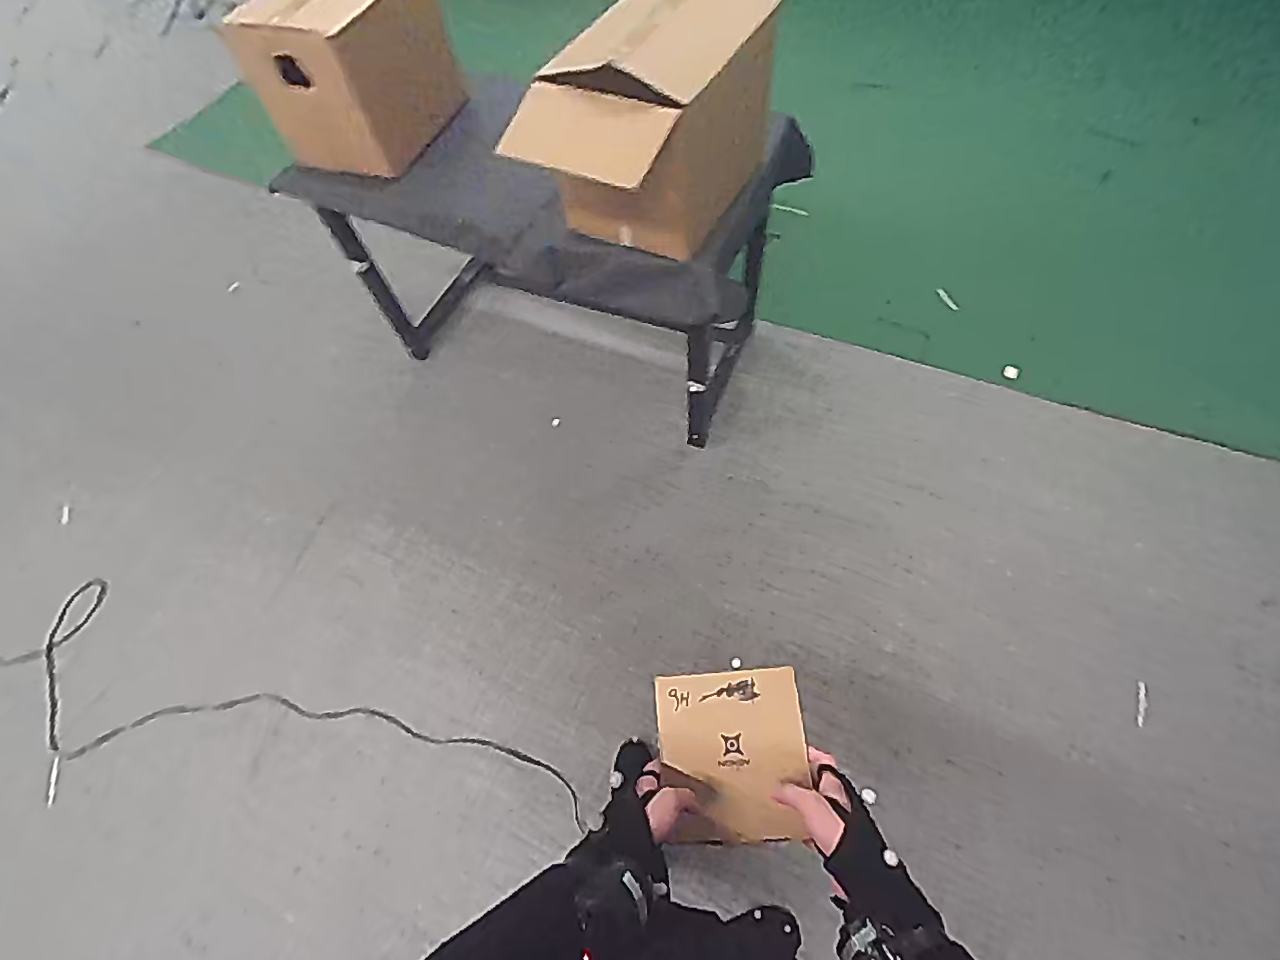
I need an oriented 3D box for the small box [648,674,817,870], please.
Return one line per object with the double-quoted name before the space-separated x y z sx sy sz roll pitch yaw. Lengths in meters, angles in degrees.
"small box" 0.110 0.344 0.666 0.168 0.176 0.179 -9 72 6
